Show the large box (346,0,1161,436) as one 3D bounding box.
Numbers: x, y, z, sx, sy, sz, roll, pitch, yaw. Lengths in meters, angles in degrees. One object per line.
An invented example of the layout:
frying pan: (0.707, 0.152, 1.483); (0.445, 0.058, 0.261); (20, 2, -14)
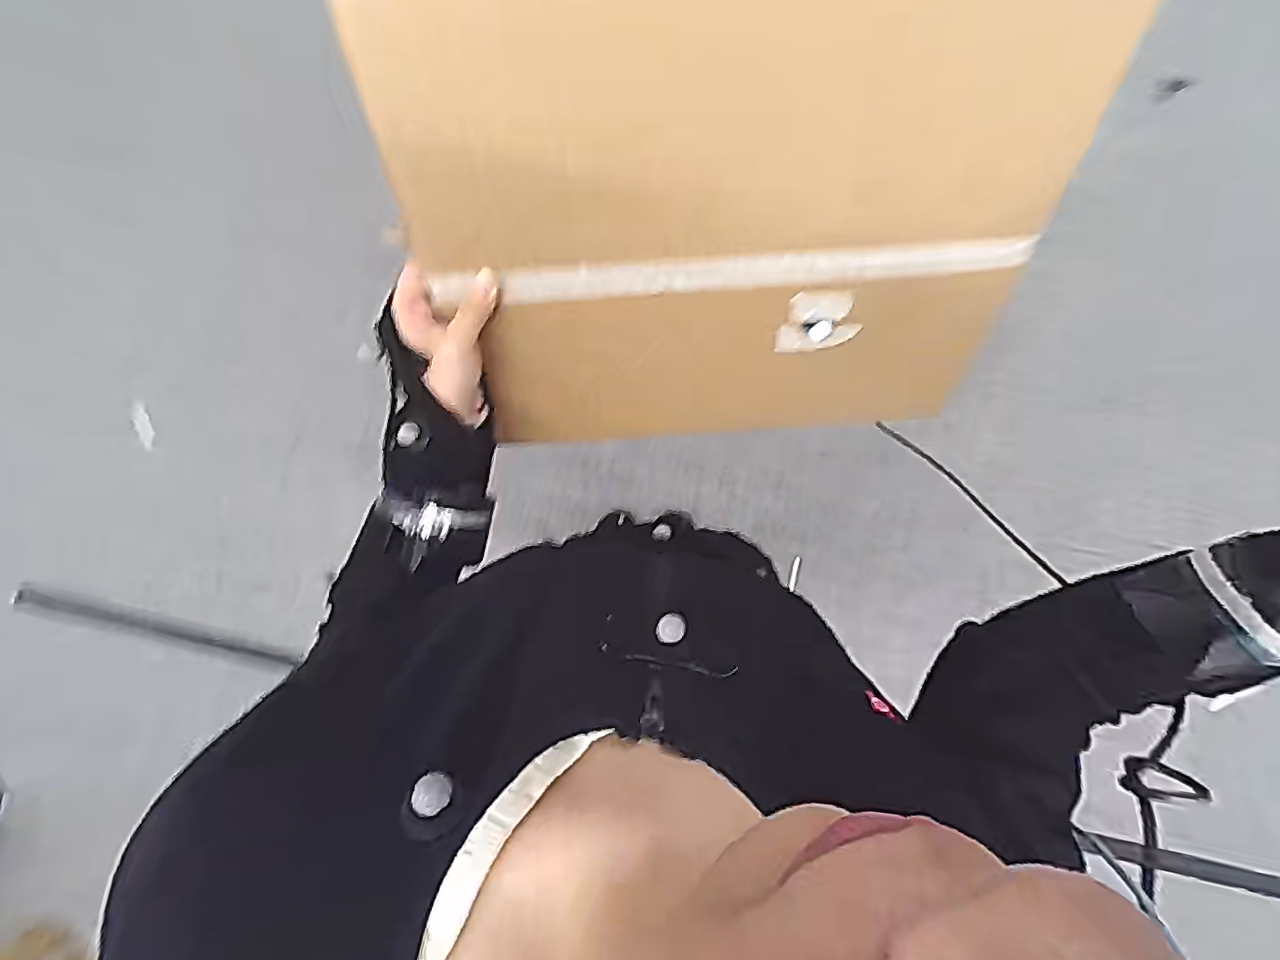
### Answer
large box: (0.053, -0.266, 0.444); (0.408, 0.320, 0.320); (-5, 51, -2)
